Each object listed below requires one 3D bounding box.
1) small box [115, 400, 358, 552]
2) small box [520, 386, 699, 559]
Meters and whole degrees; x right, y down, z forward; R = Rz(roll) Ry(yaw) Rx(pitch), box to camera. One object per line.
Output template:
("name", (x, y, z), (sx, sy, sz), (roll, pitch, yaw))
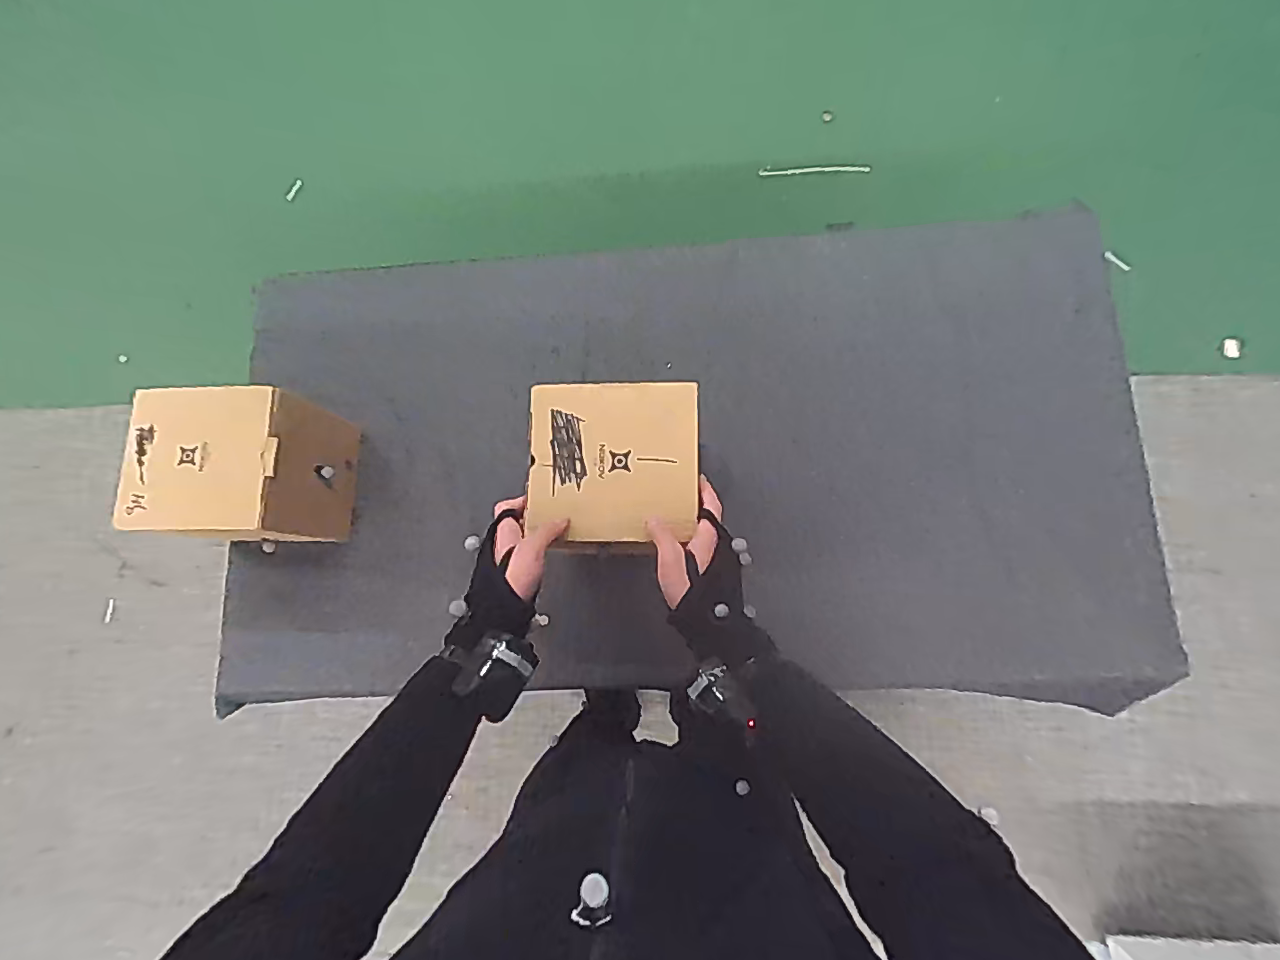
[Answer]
("small box", (-0.488, 0.003, 0.684), (0.179, 0.176, 0.168), (-1, 79, 4))
("small box", (-0.023, 0.002, 0.616), (0.179, 0.176, 0.168), (0, 78, 4))
